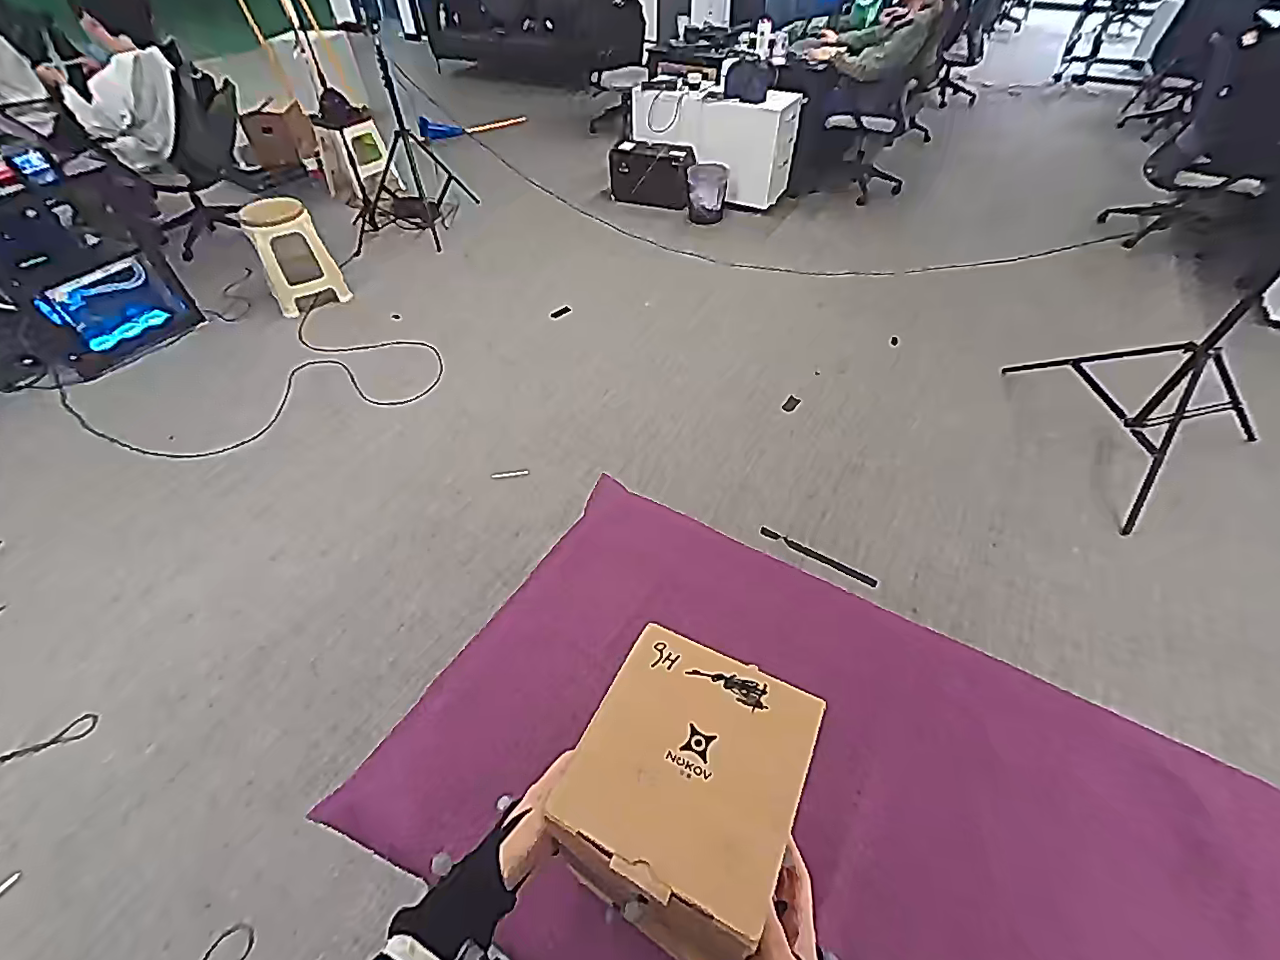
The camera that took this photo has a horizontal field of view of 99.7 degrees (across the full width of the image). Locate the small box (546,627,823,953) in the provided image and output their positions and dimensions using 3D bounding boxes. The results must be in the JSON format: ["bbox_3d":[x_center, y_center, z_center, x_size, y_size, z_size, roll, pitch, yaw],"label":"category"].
[{"bbox_3d":[0.043,0.272,0.478,0.168,0.176,0.179,20,49,20],"label":"small box"}]

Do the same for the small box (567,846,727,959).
[{"bbox_3d":[0.044,0.393,0.594,0.168,0.176,0.179,25,52,21],"label":"small box"}]
